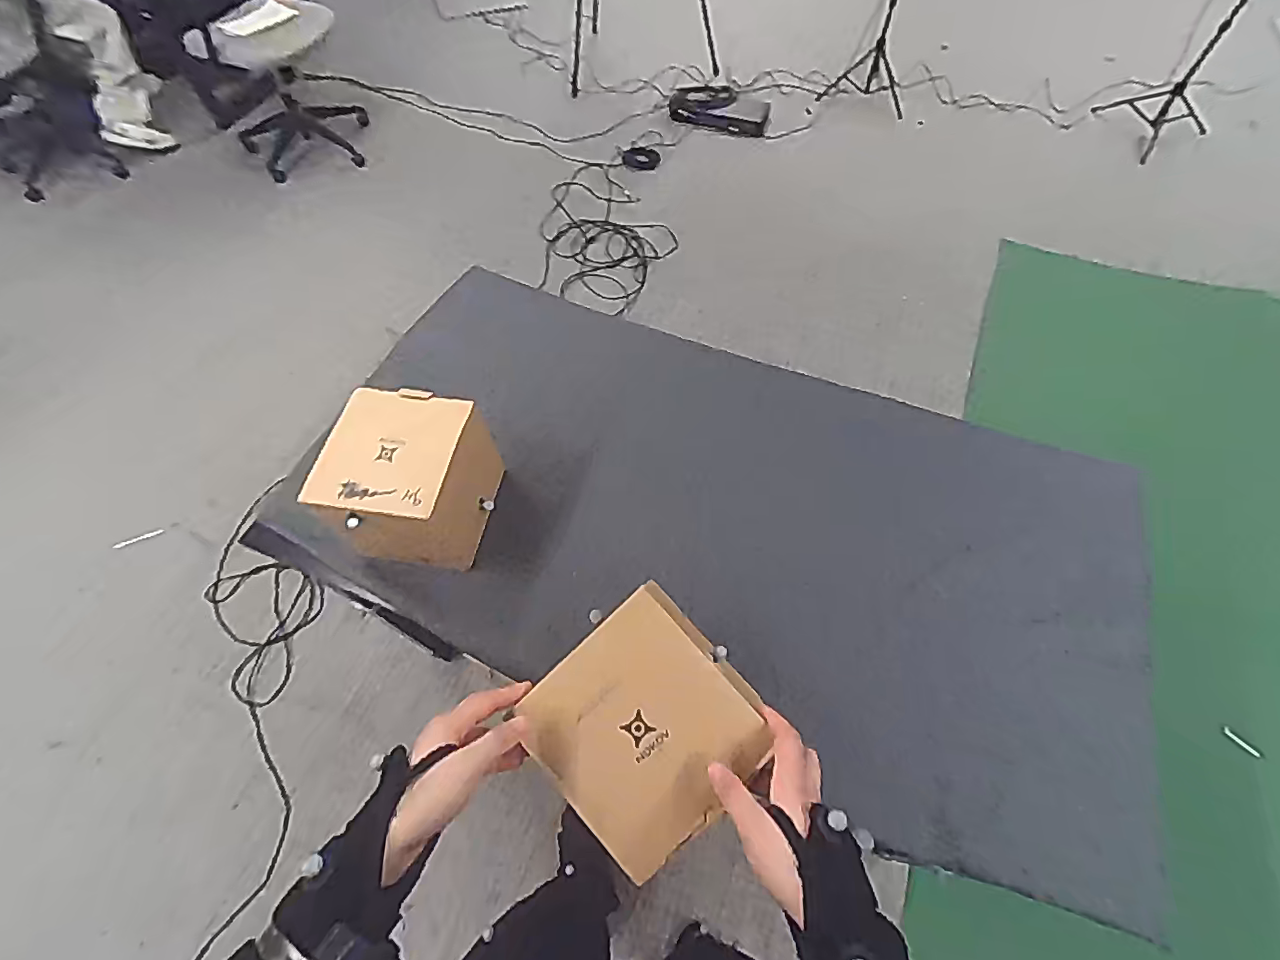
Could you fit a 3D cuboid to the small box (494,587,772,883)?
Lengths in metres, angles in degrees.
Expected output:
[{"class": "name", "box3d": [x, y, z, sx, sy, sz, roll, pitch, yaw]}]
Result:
[{"class": "small box", "box3d": [-0.001, 0.218, 0.523, 0.168, 0.176, 0.179, -43, 80, -3]}]

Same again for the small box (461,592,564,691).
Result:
[{"class": "small box", "box3d": [-0.304, 0.414, 1.339, 0.168, 0.176, 0.179, 23, 62, 14]}]

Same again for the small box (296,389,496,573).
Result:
[{"class": "small box", "box3d": [-0.308, 0.005, 0.732, 0.168, 0.176, 0.179, 8, 60, 6]}]

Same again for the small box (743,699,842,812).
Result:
[{"class": "small box", "box3d": [0.332, 0.613, 1.201, 0.168, 0.176, 0.179, 15, 60, 9]}]
